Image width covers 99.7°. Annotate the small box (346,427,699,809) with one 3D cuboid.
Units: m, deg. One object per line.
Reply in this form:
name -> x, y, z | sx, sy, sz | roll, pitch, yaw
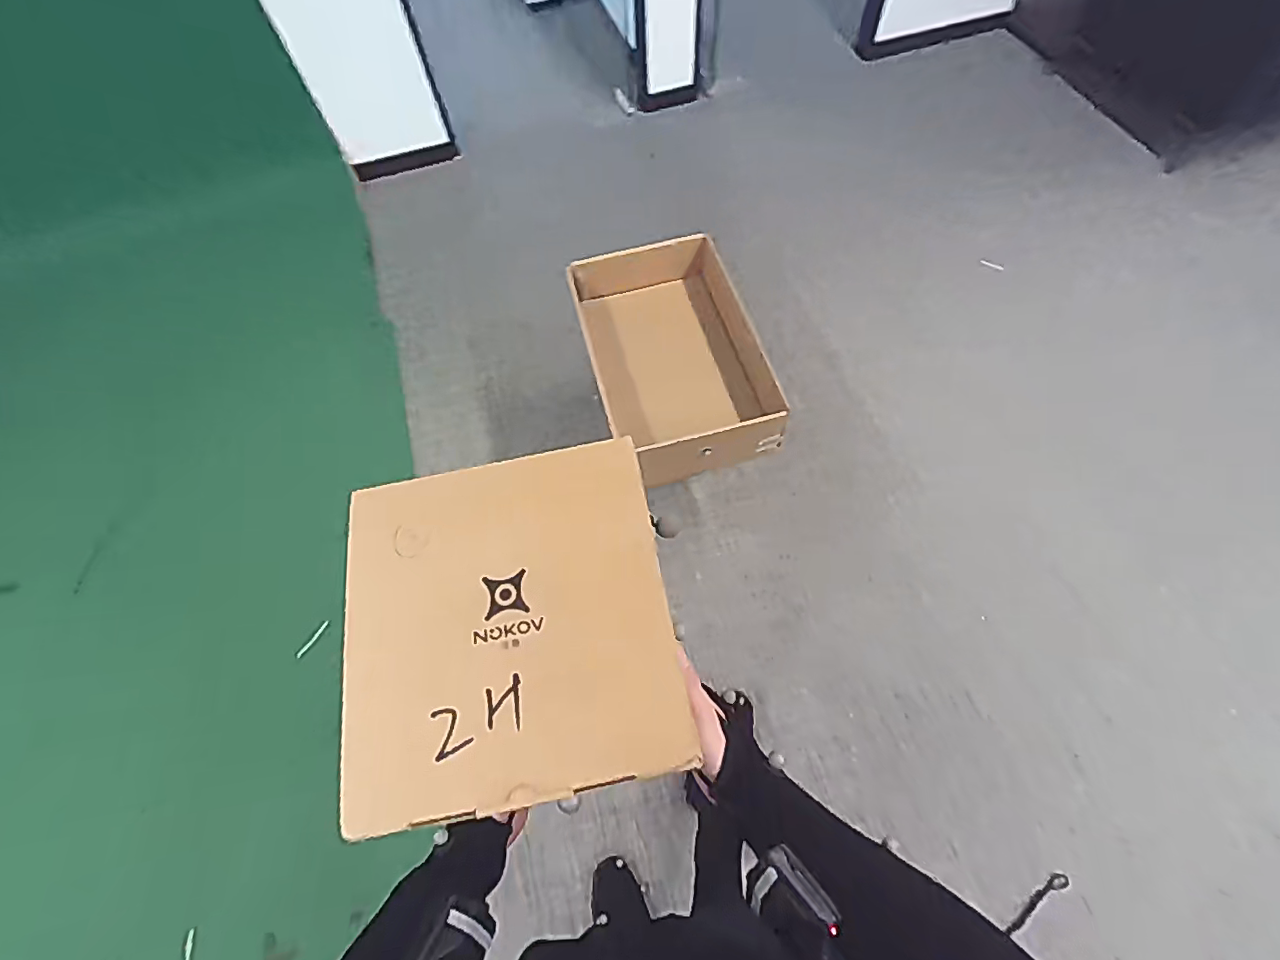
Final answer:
small box -> -0.062, 0.092, 0.354 | 0.168, 0.176, 0.179 | -12, 66, 0
